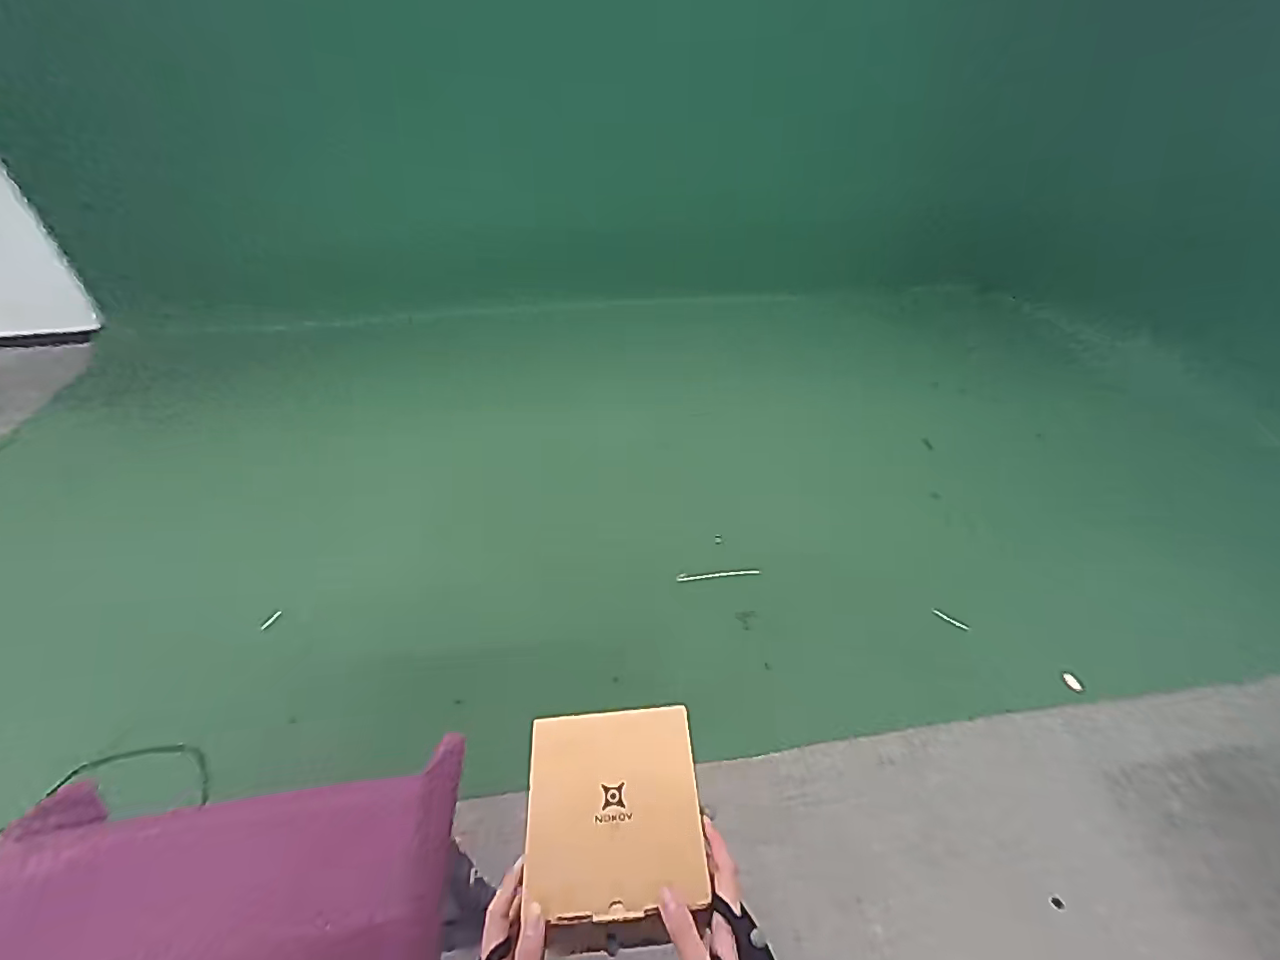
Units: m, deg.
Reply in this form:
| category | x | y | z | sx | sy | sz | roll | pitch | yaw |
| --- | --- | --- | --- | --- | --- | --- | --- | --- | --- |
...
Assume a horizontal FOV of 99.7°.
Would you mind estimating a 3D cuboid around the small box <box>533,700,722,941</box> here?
| category | x | y | z | sx | sy | sz | roll | pitch | yaw |
| --- | --- | --- | --- | --- | --- | --- | --- | --- | --- |
| small box | -0.014 | 0.360 | 0.575 | 0.168 | 0.176 | 0.179 | -4 | 44 | -2 |
